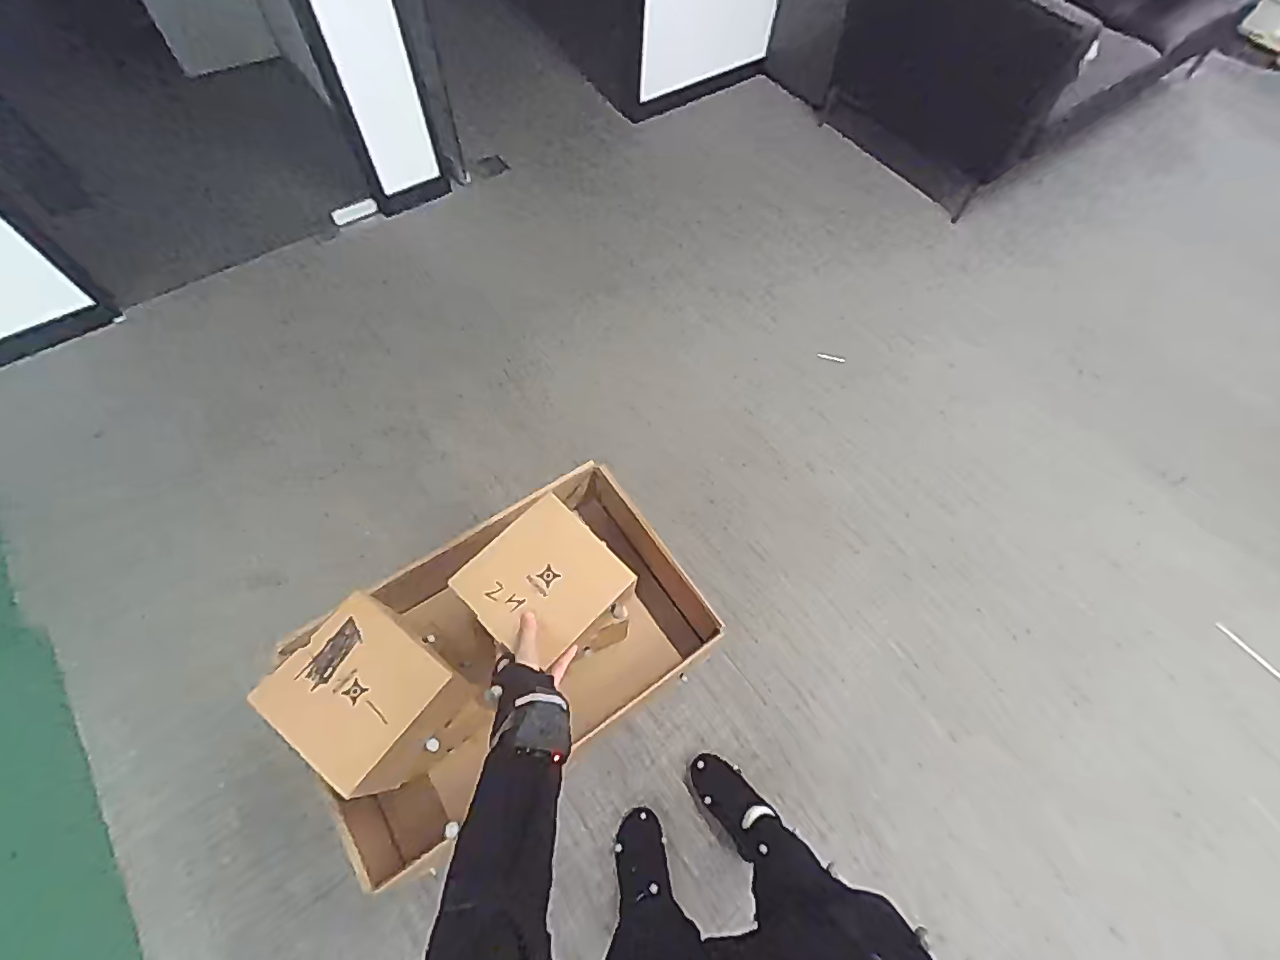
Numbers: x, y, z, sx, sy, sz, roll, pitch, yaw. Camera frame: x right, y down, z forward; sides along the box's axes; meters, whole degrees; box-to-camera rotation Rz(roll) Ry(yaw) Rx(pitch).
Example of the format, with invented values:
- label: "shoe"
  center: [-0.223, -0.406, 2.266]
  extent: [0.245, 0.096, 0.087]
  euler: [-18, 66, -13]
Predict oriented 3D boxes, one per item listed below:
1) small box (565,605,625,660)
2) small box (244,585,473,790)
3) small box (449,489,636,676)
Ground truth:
- label: "small box"
  center: [-0.134, 0.209, 0.938]
  extent: [0.168, 0.176, 0.179]
  euler: [-21, 67, -14]
- label: "small box"
  center: [-0.350, 0.271, 0.707]
  extent: [0.179, 0.176, 0.168]
  euler: [36, 67, 13]
- label: "small box"
  center: [-0.127, 0.147, 0.747]
  extent: [0.179, 0.176, 0.168]
  euler: [-41, 75, -17]
